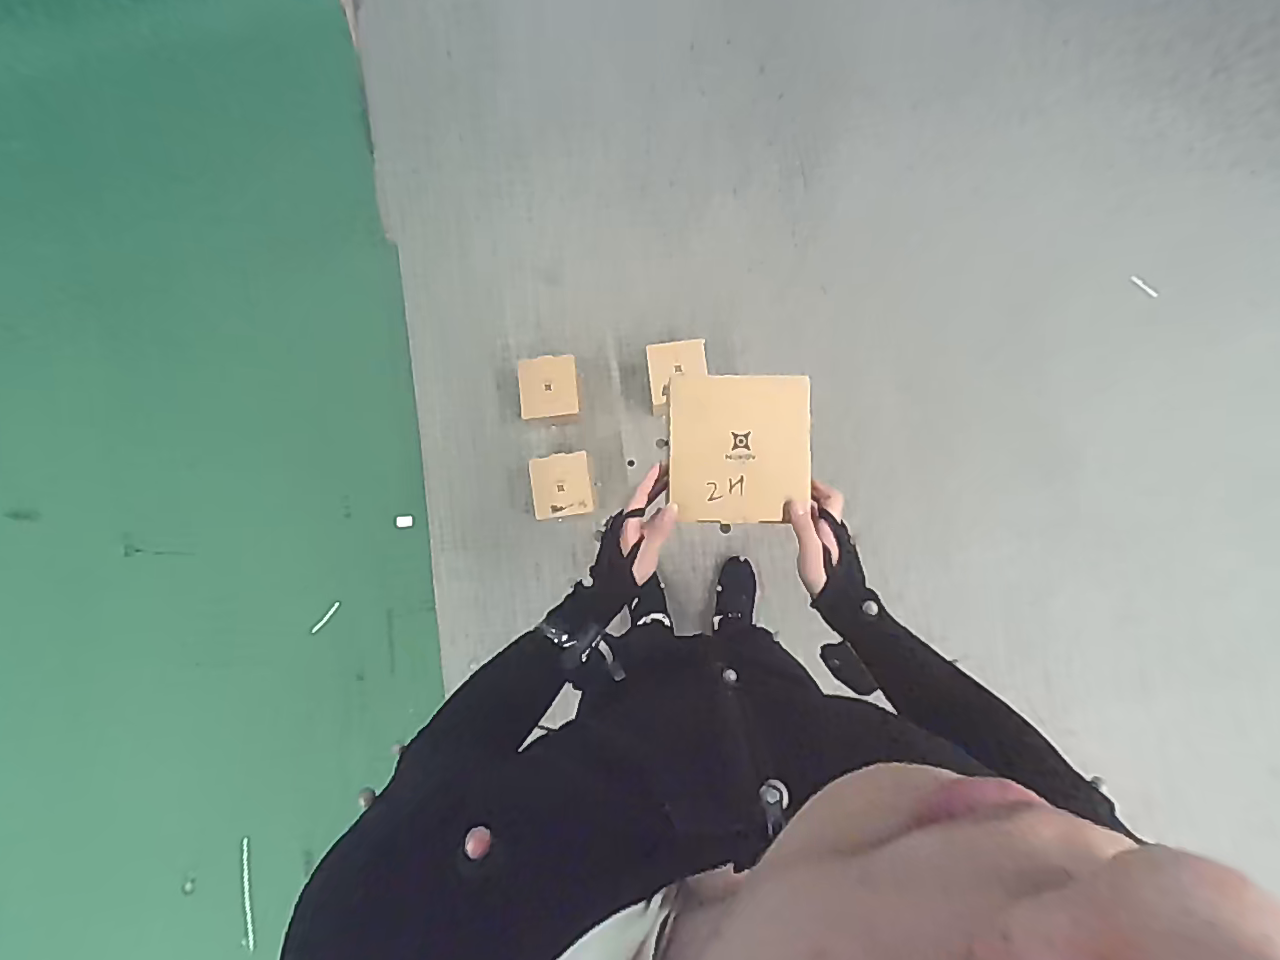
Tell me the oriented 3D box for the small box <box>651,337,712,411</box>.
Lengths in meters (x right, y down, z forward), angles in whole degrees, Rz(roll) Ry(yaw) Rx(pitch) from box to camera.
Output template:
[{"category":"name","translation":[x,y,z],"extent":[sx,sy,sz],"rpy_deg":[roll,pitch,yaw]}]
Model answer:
[{"category":"small box","translation":[0.125,-0.304,1.597],"extent":[0.168,0.176,0.179],"rpy_deg":[-6,84,2]}]

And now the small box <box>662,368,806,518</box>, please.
[{"category":"small box","translation":[0.113,-0.040,0.708],"extent":[0.168,0.176,0.179],"rpy_deg":[0,88,2]}]

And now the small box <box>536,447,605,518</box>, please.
[{"category":"small box","translation":[-0.200,0.013,1.584],"extent":[0.168,0.176,0.179],"rpy_deg":[-8,83,3]}]
